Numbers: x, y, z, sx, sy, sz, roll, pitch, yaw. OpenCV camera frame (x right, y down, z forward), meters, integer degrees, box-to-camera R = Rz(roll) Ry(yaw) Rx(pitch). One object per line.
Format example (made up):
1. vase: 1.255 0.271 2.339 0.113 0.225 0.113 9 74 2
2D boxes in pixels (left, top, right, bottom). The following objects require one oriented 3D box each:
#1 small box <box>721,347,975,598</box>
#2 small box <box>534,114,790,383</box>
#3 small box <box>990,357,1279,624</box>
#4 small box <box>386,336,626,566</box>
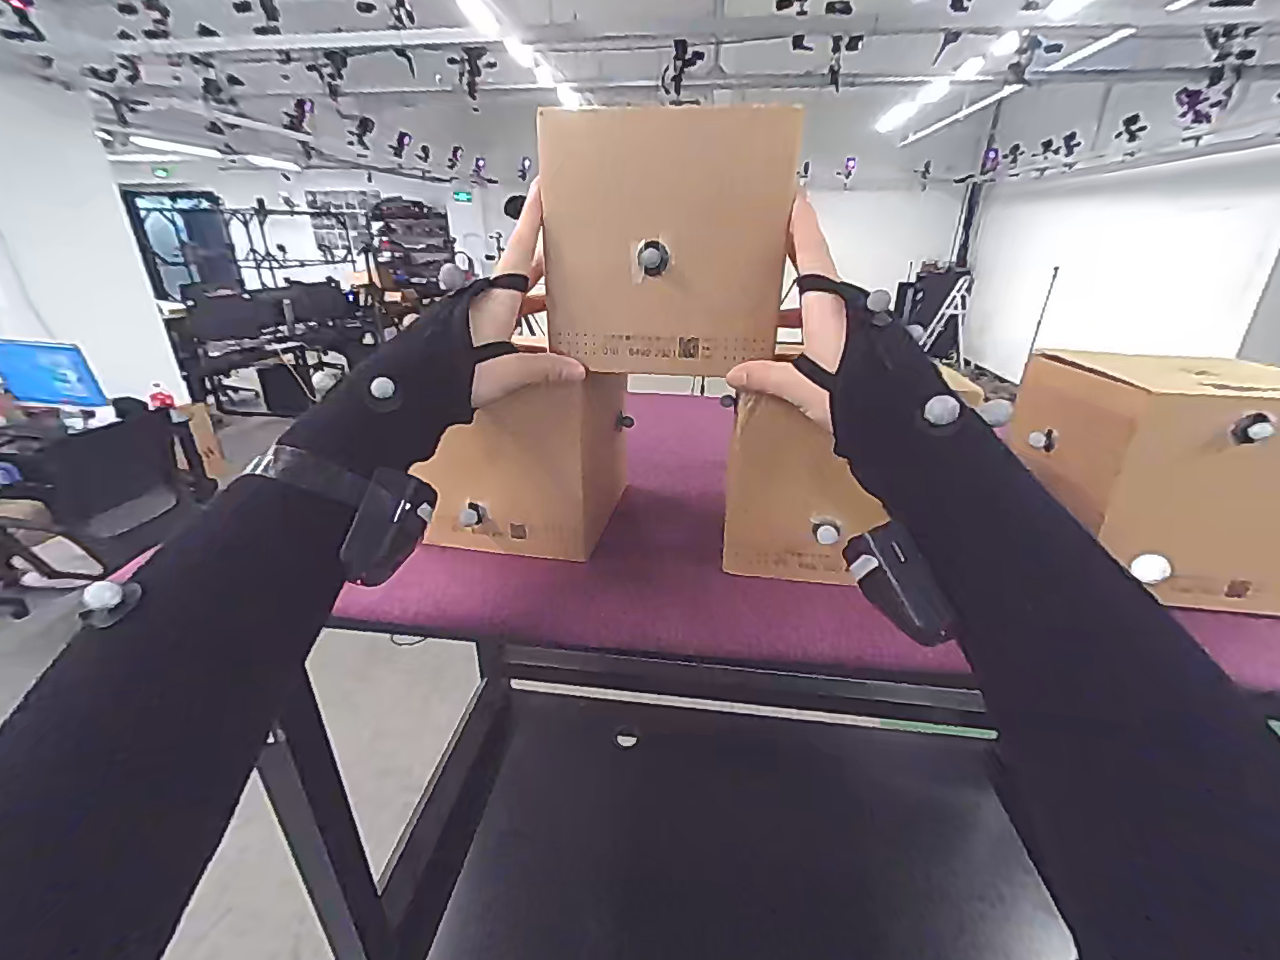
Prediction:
1. small box: 0.163 -0.019 0.489 0.168 0.176 0.179 4 24 9
2. small box: 0.024 -0.180 0.442 0.168 0.176 0.179 4 23 7
3. small box: 0.434 -0.004 0.462 0.168 0.176 0.179 4 22 9
4. small box: -0.112 -0.039 0.525 0.168 0.176 0.179 4 24 10
